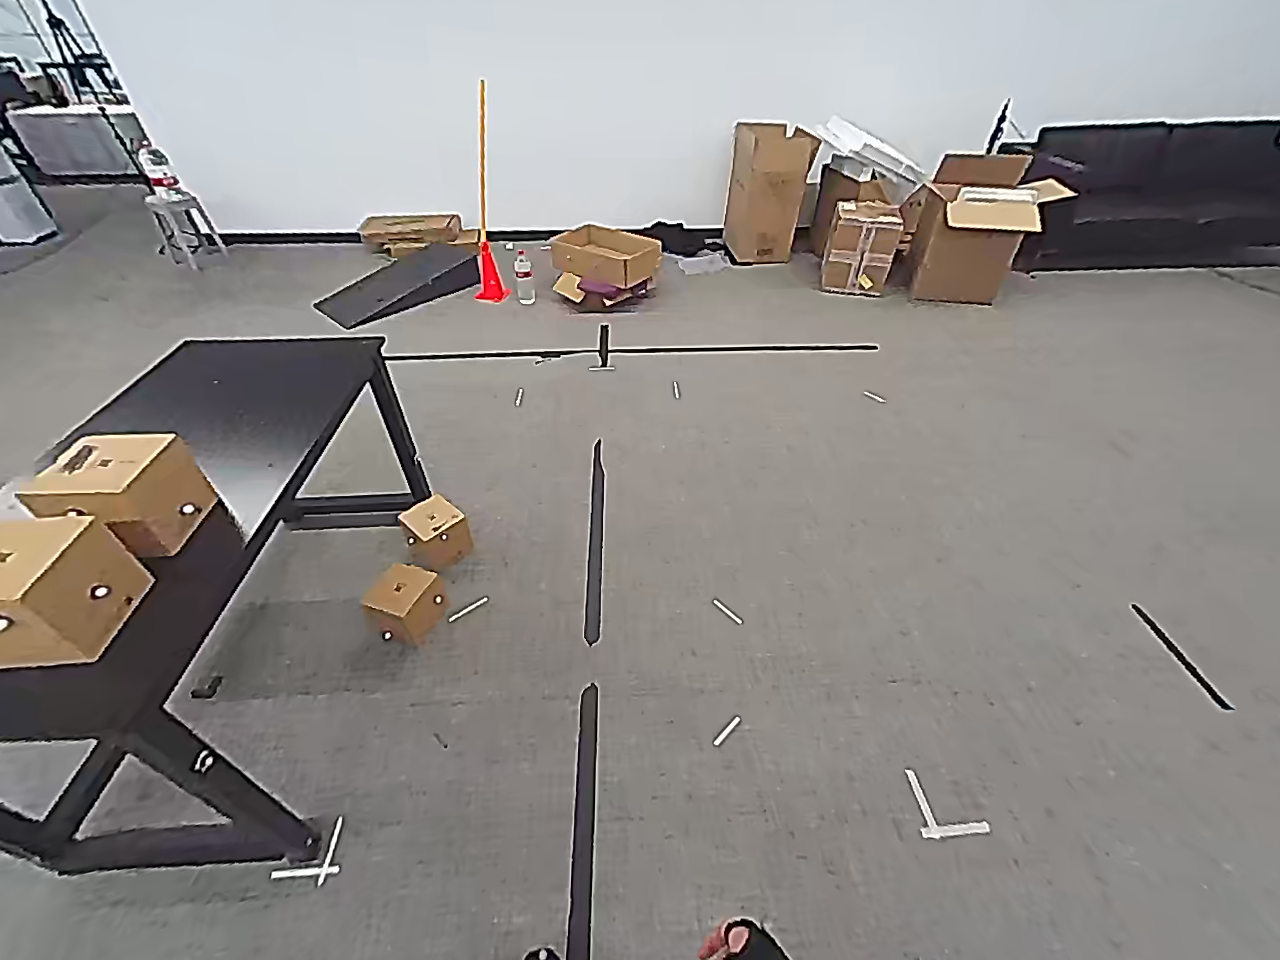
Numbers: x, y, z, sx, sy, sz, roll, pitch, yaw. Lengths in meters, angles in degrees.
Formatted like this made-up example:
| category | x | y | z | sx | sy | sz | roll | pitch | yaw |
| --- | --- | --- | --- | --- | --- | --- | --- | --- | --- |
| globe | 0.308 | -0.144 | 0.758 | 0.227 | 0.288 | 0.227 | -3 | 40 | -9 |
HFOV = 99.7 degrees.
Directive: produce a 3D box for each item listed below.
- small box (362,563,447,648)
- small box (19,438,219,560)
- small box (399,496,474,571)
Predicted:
| category | x | y | z | sx | sy | sz | roll | pitch | yaw |
| --- | --- | --- | --- | --- | --- | --- | --- | --- | --- |
| small box | -0.736 | 0.398 | 1.716 | 0.168 | 0.176 | 0.179 | 12 | 44 | 14 |
| small box | -0.963 | 0.038 | 1.022 | 0.179 | 0.176 | 0.168 | -1 | 42 | -2 |
| small box | -0.727 | 0.194 | 1.940 | 0.179 | 0.176 | 0.168 | 30 | 50 | 29 |
